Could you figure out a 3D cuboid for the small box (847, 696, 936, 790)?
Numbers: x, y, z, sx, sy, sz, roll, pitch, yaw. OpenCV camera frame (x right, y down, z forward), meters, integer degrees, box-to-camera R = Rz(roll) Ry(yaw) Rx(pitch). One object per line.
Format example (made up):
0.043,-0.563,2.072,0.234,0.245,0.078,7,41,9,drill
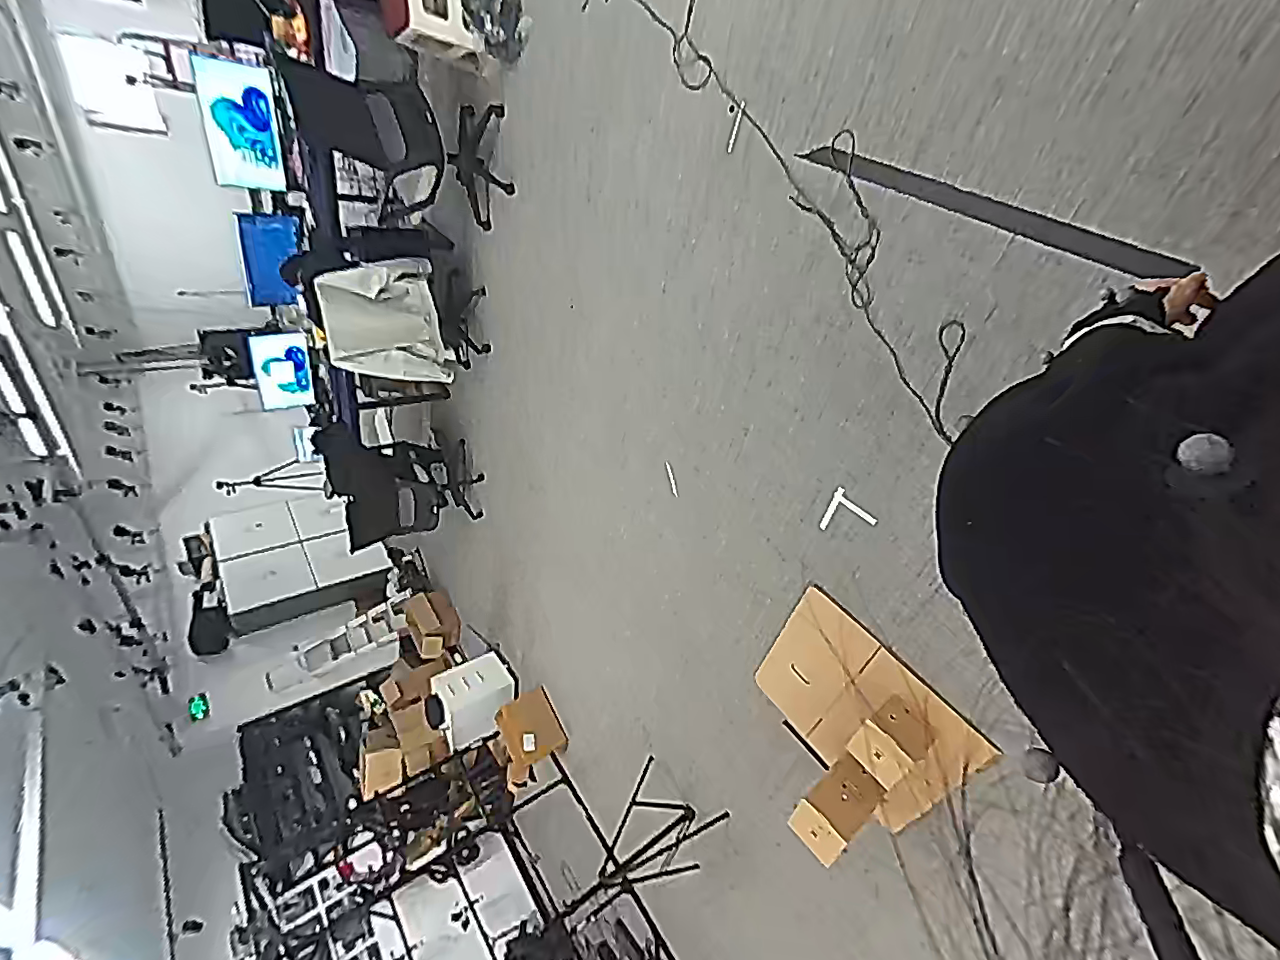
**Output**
0.791,0.815,1.691,0.168,0.176,0.179,43,134,36,small box

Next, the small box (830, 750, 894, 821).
0.740,1.046,1.845,0.168,0.176,0.179,38,130,39,small box

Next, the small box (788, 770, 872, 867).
0.615,1.087,1.746,0.168,0.176,0.179,39,132,37,small box
